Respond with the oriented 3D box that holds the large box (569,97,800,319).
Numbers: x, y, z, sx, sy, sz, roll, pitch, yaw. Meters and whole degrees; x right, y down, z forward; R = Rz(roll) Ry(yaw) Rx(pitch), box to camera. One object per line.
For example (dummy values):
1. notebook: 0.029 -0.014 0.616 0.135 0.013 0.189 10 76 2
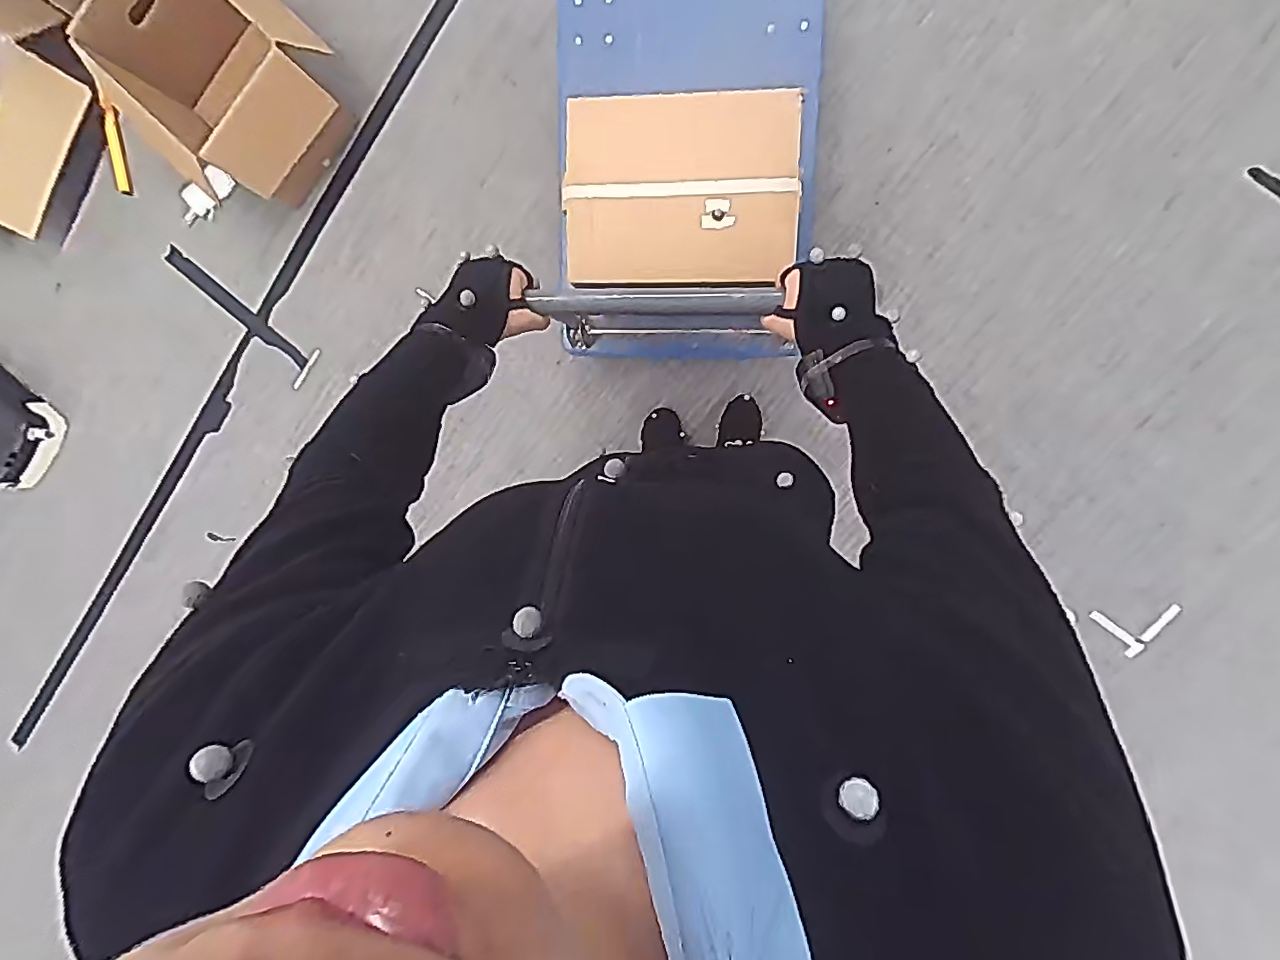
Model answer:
1. large box: 0.085 -0.513 1.093 0.408 0.320 0.320 1 97 5
